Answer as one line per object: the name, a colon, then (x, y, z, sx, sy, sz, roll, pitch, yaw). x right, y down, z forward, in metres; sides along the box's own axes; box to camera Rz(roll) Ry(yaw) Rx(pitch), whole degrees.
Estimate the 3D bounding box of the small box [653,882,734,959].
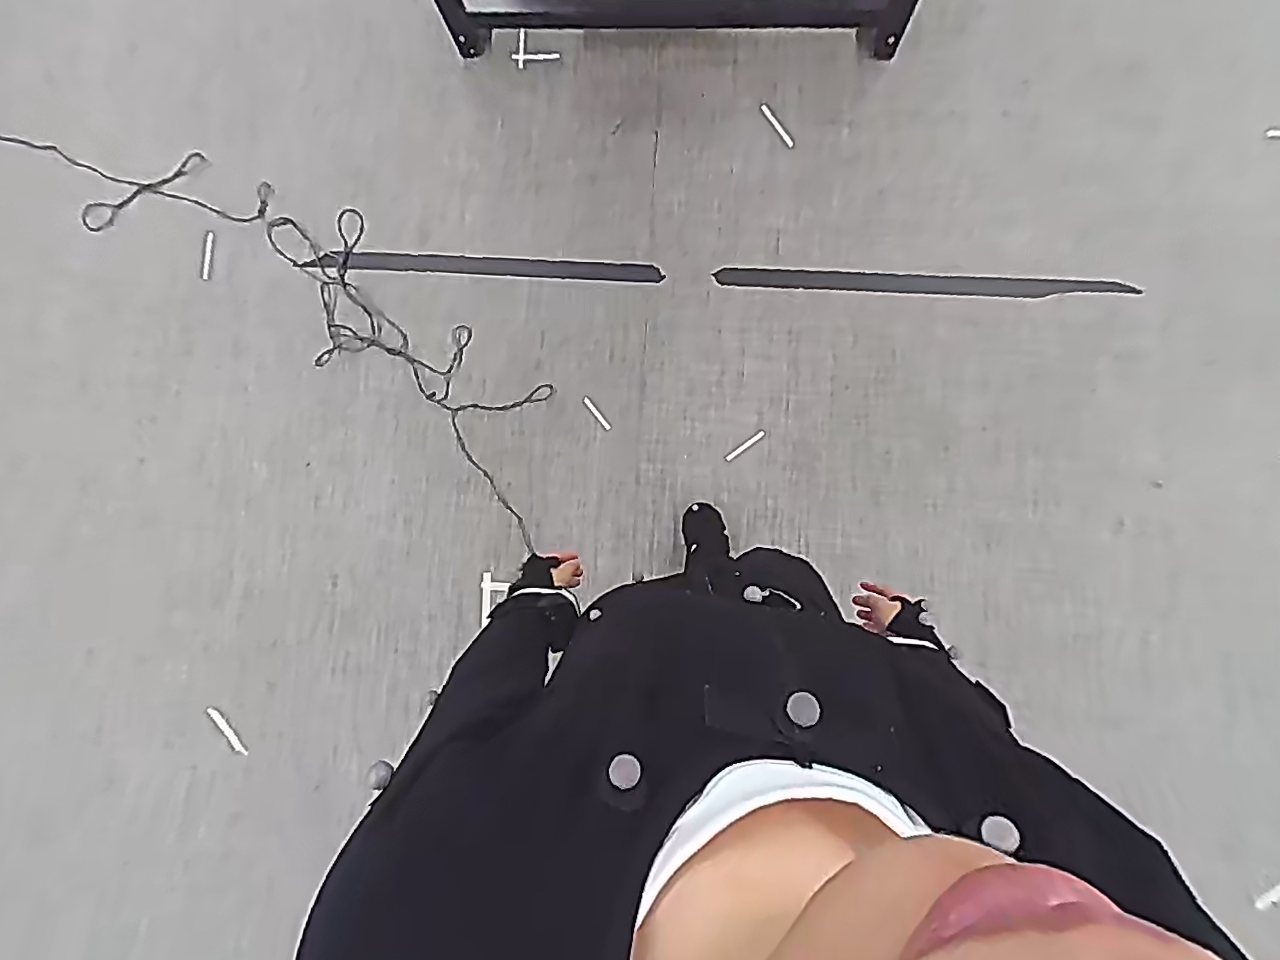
small box: (0.119, 1.083, 1.257, 0.179, 0.176, 0.168, 4, 87, 5)
